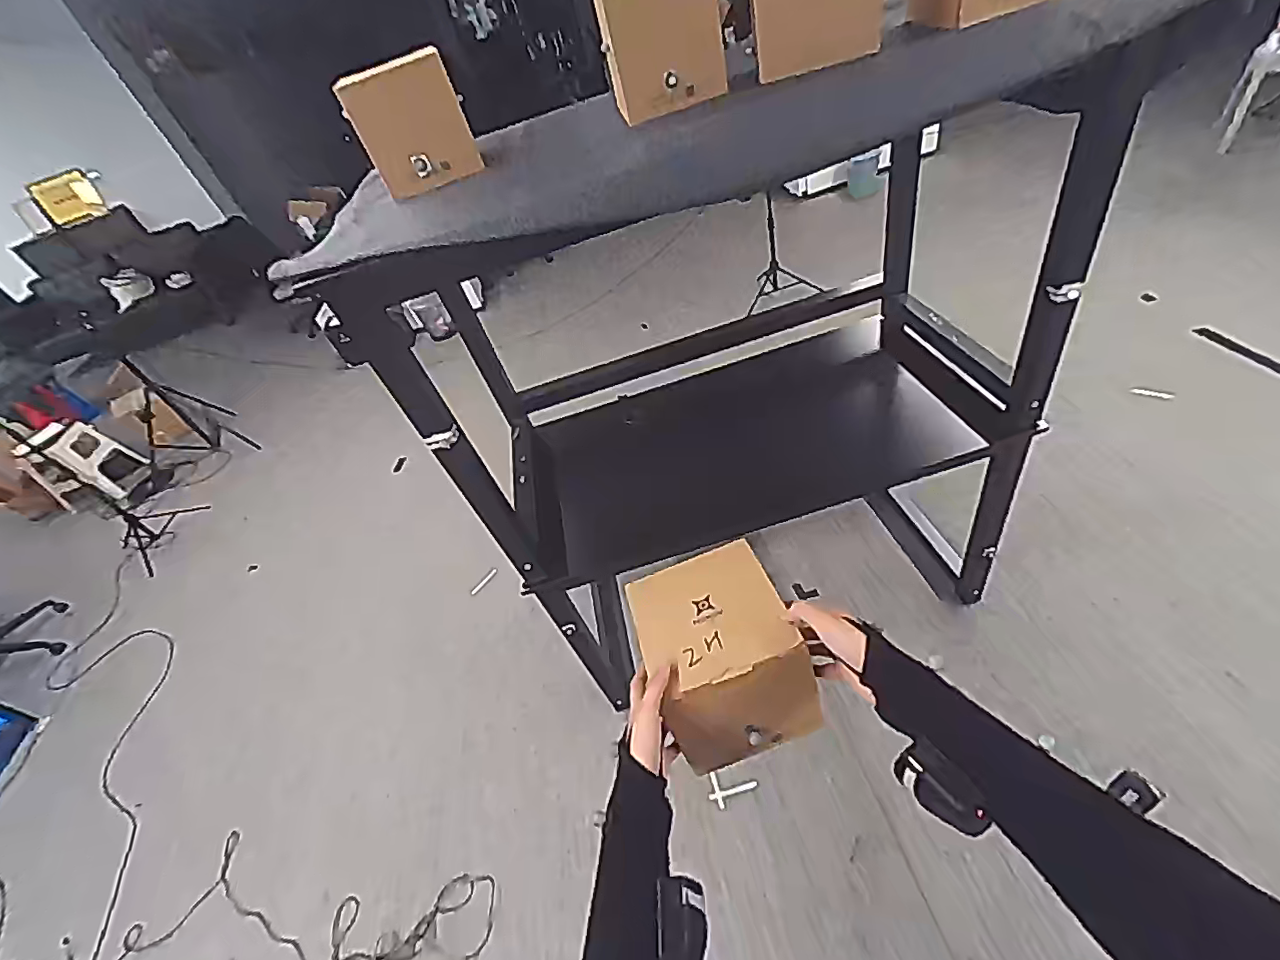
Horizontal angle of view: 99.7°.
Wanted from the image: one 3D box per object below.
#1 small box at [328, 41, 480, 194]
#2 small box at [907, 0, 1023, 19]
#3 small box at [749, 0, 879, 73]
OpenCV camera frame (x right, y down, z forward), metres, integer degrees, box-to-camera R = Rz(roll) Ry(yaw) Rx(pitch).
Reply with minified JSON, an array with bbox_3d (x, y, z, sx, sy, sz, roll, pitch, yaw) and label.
[{"bbox_3d":[-0.386,-0.603,0.905,0.168,0.176,0.179,-25,44,-4],"label":"small box"},{"bbox_3d":[0.496,-0.780,0.760,0.168,0.176,0.179,-14,44,6],"label":"small box"},{"bbox_3d":[0.253,-0.739,0.807,0.179,0.176,0.168,-6,45,13],"label":"small box"}]
